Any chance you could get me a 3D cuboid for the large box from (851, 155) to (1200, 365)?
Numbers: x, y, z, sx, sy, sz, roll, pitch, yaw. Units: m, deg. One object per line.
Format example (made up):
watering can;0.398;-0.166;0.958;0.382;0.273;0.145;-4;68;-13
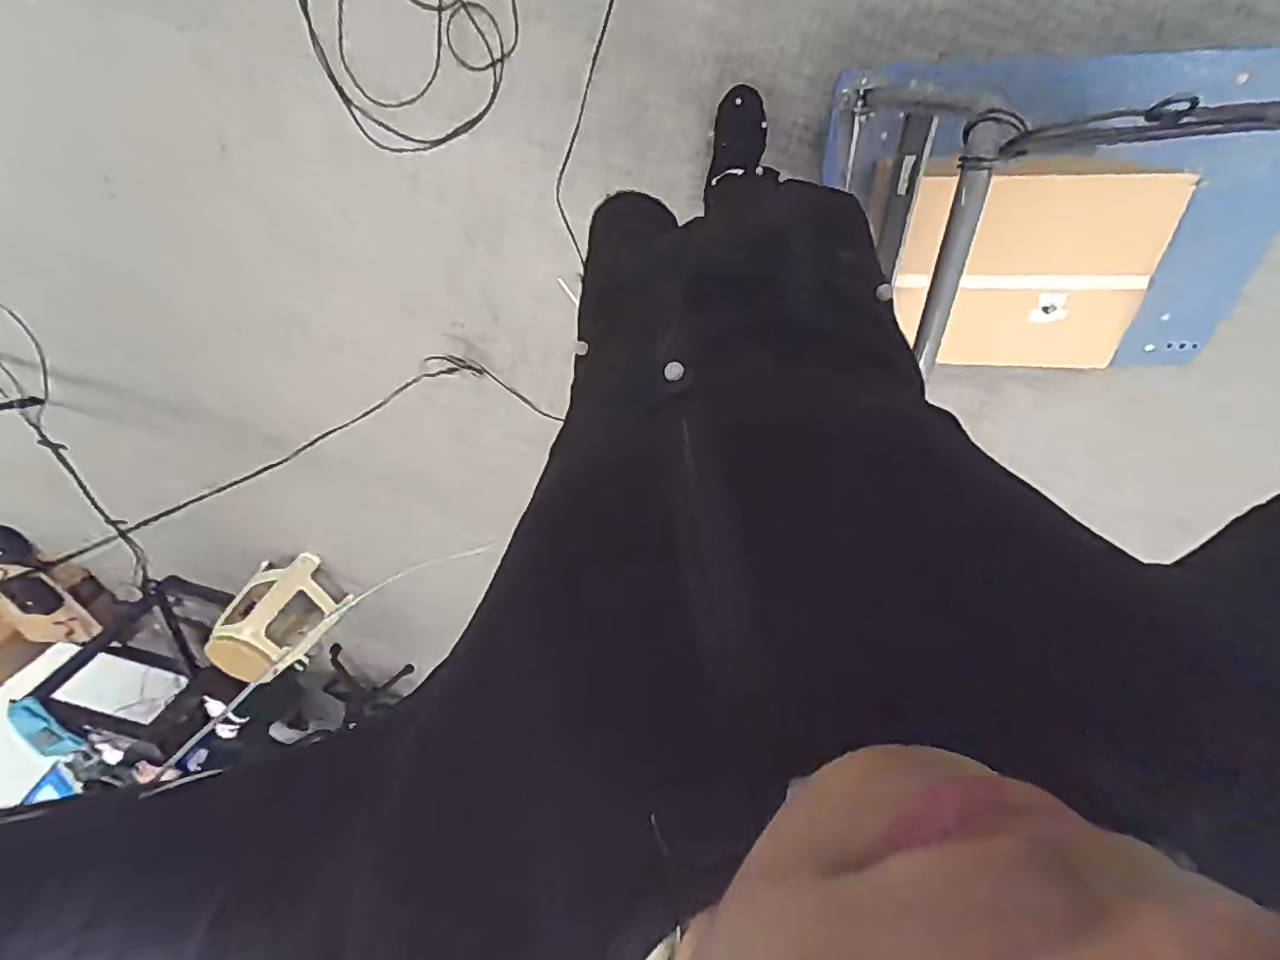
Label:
large box;0.657;-0.426;1.028;0.408;0.320;0.320;4;127;8
